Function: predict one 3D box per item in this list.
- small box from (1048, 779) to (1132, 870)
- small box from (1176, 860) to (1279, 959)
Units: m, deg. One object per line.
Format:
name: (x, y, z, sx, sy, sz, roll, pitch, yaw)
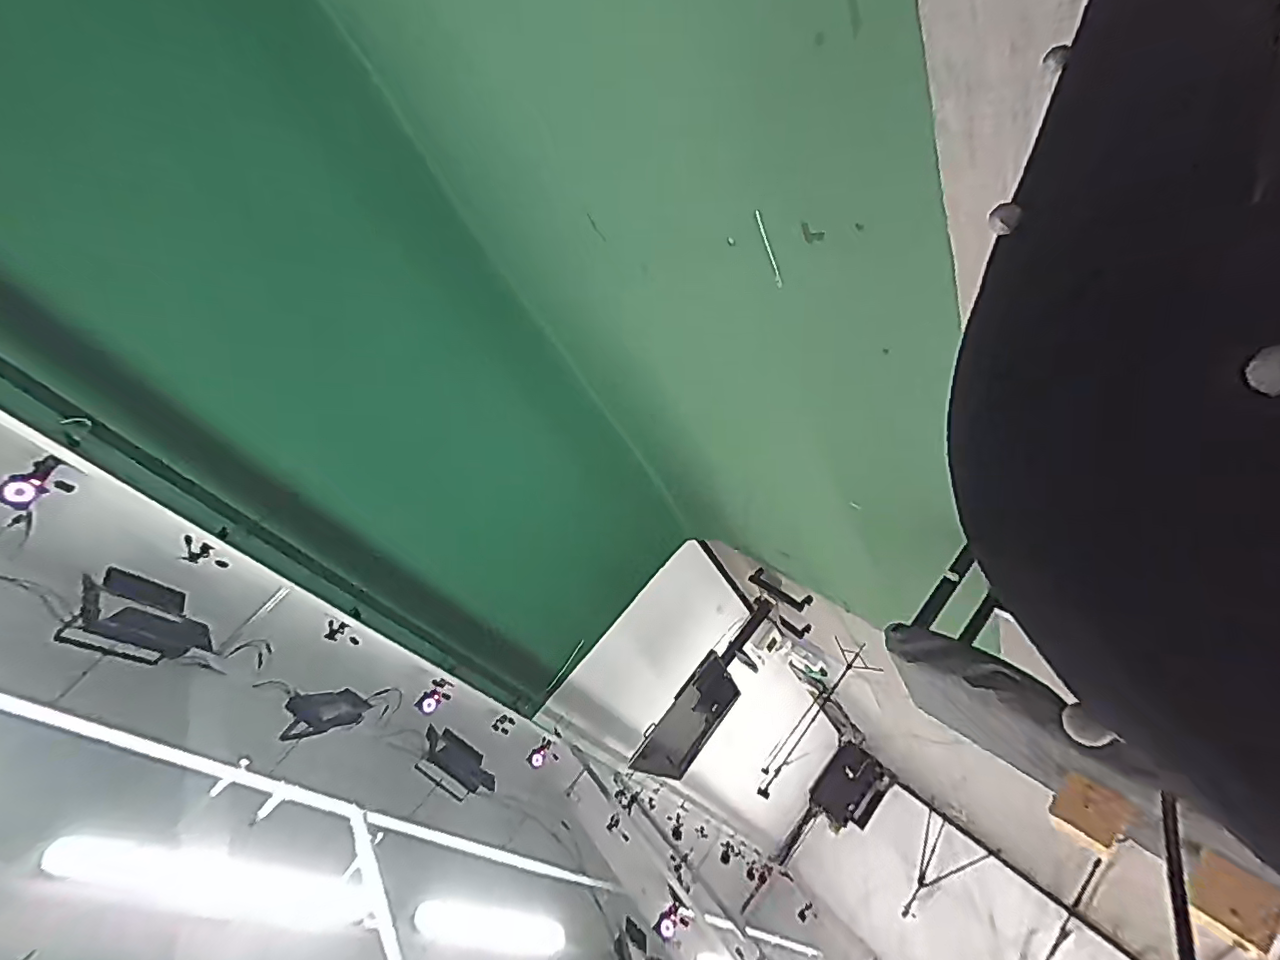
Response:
small box: (1.460, 1.115, 1.758, 0.168, 0.176, 0.179, 26, 158, 49)
small box: (1.654, 1.215, 1.509, 0.179, 0.176, 0.168, 27, 159, 52)
